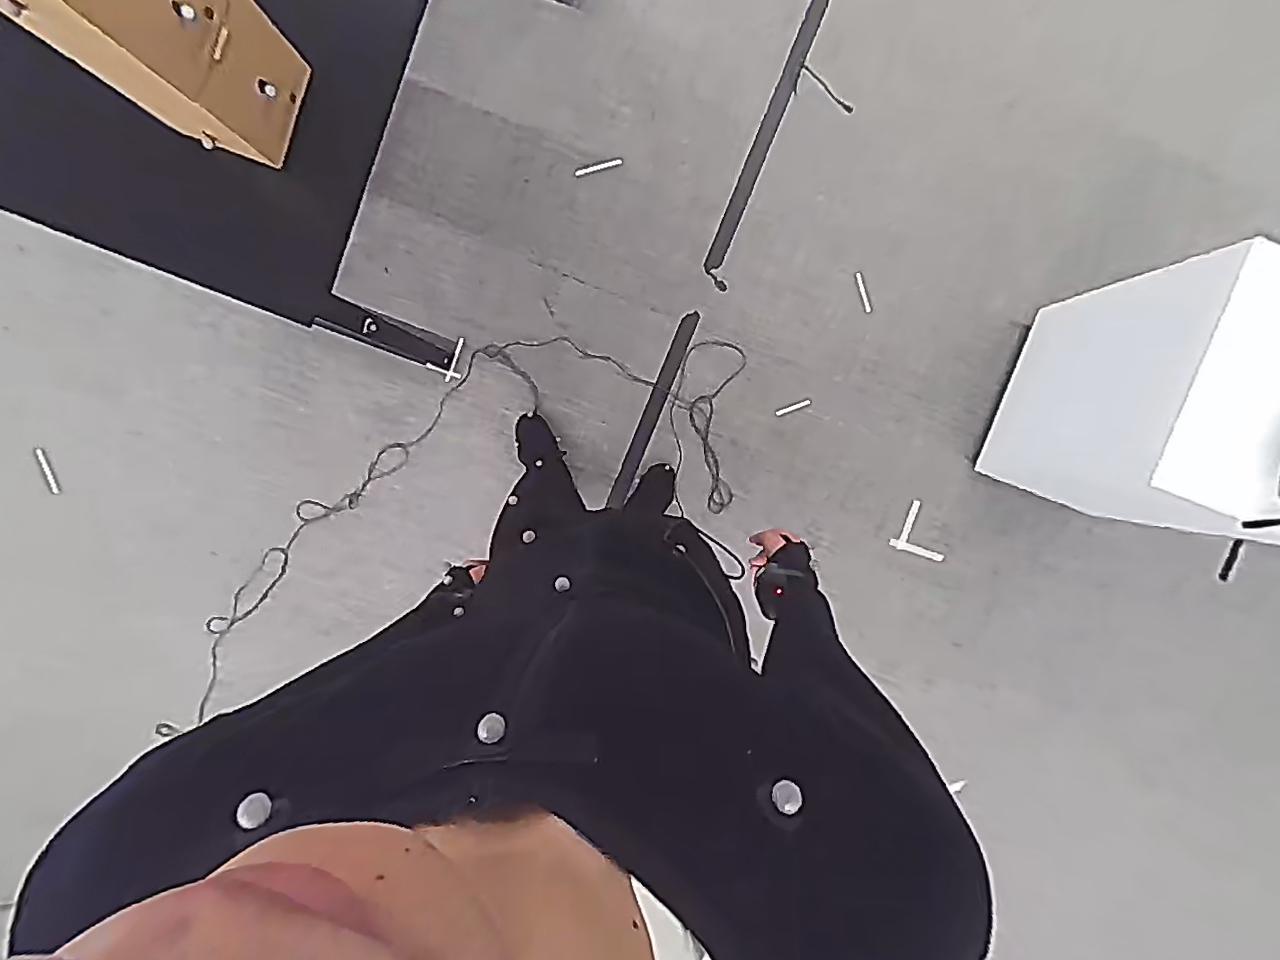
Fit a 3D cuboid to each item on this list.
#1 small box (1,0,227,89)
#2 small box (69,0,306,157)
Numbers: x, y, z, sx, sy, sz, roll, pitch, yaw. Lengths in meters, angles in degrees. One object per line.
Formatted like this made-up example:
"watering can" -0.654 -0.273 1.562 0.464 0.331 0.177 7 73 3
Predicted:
"small box" -0.616 -0.584 0.597 0.179 0.176 0.168 20 94 -2
"small box" -0.617 -0.595 0.762 0.179 0.176 0.168 19 93 -3
